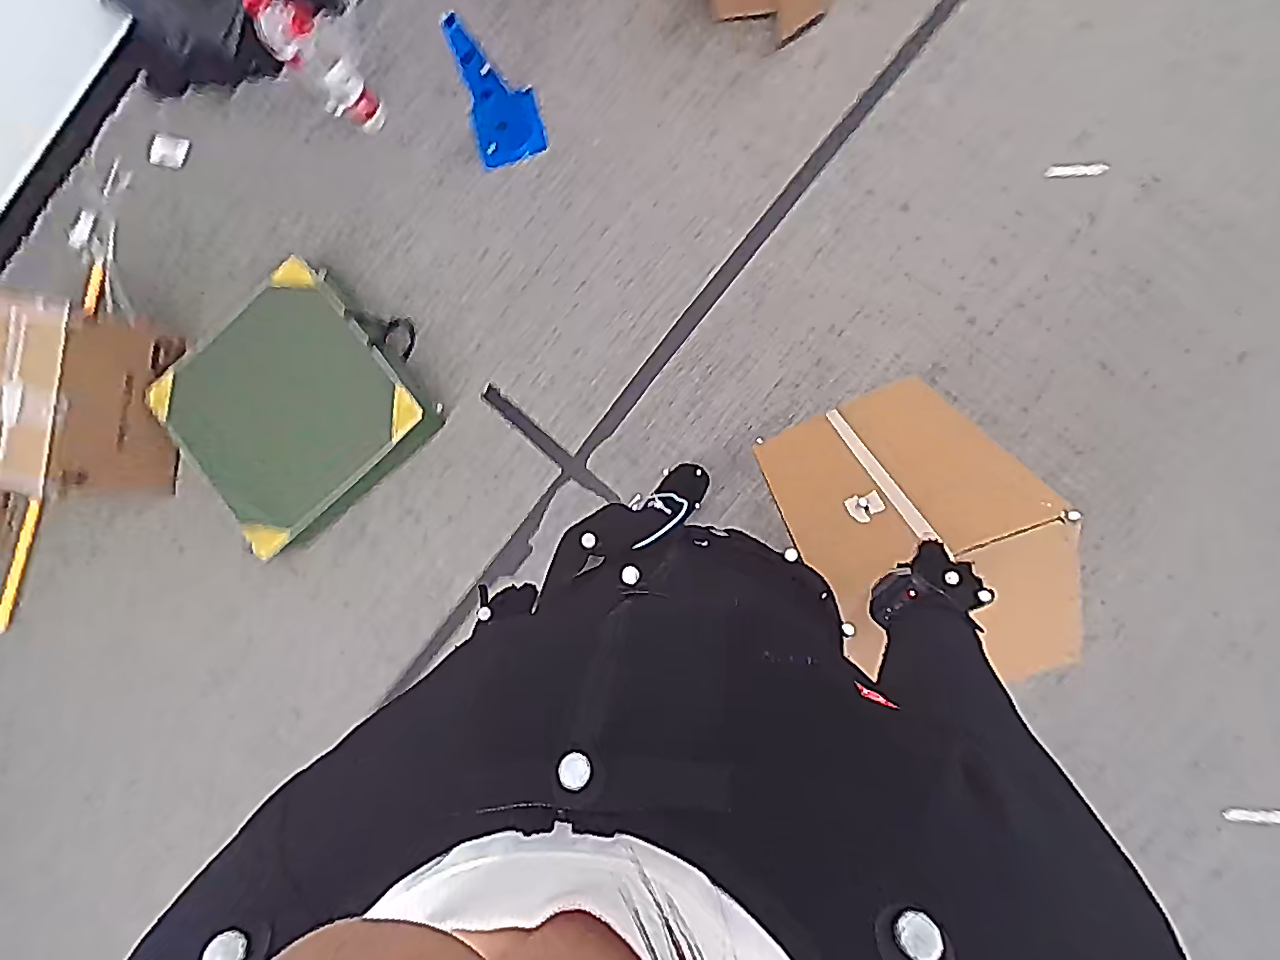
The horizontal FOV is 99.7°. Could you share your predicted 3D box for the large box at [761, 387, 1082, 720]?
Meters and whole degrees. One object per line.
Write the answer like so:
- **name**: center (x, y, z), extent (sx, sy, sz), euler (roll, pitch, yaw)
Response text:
- **large box**: center (0.439, 0.109, 0.911), extent (0.320, 0.408, 0.320), euler (-24, 123, 13)
